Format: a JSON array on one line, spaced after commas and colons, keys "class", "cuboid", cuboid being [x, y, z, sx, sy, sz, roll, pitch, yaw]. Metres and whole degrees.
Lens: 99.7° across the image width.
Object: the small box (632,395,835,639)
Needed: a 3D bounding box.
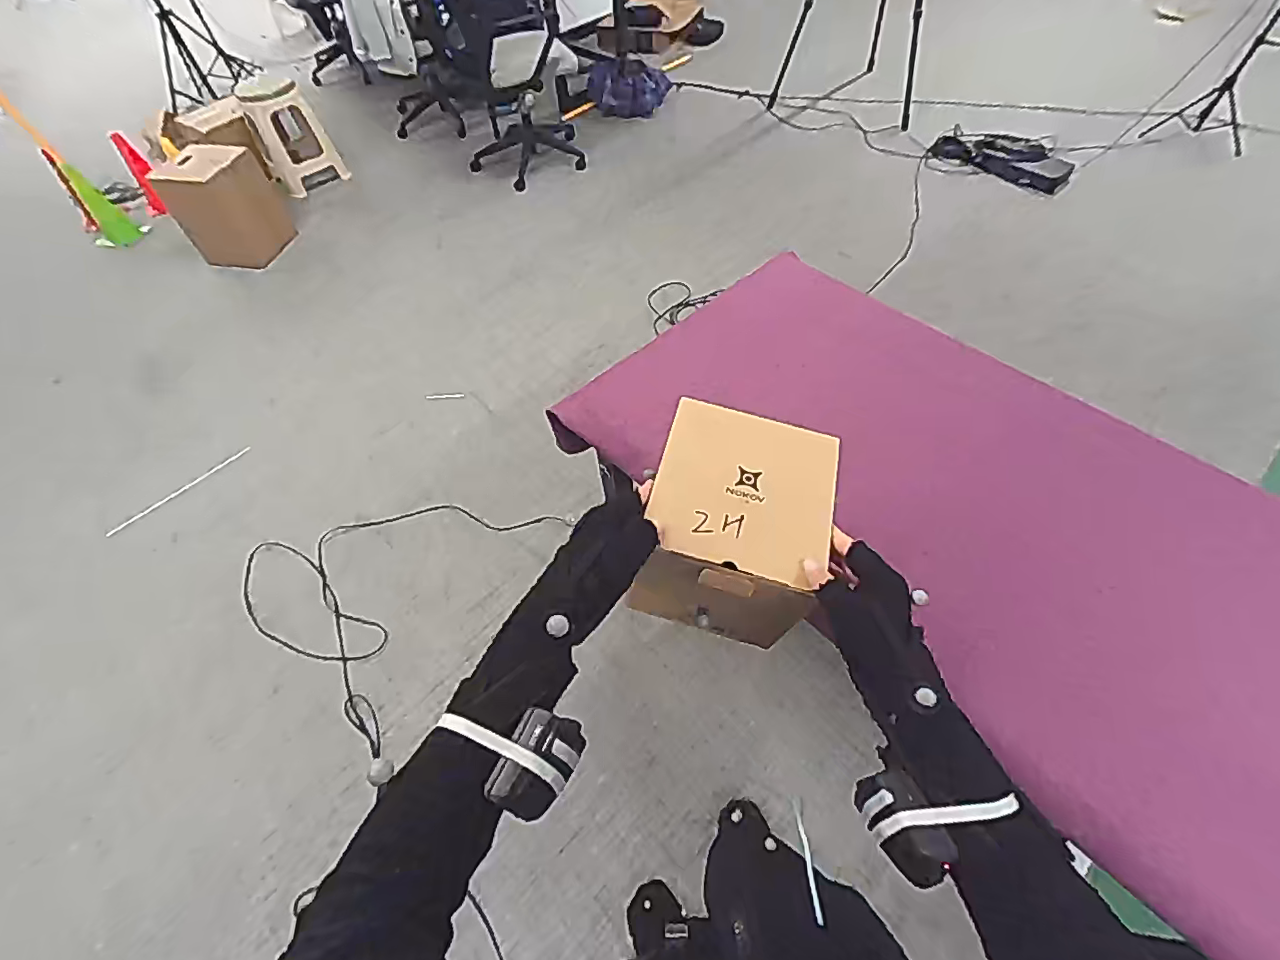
[{"class": "small box", "cuboid": [0.091, 0.045, 0.575, 0.168, 0.176, 0.179, 15, 59, 5]}]
